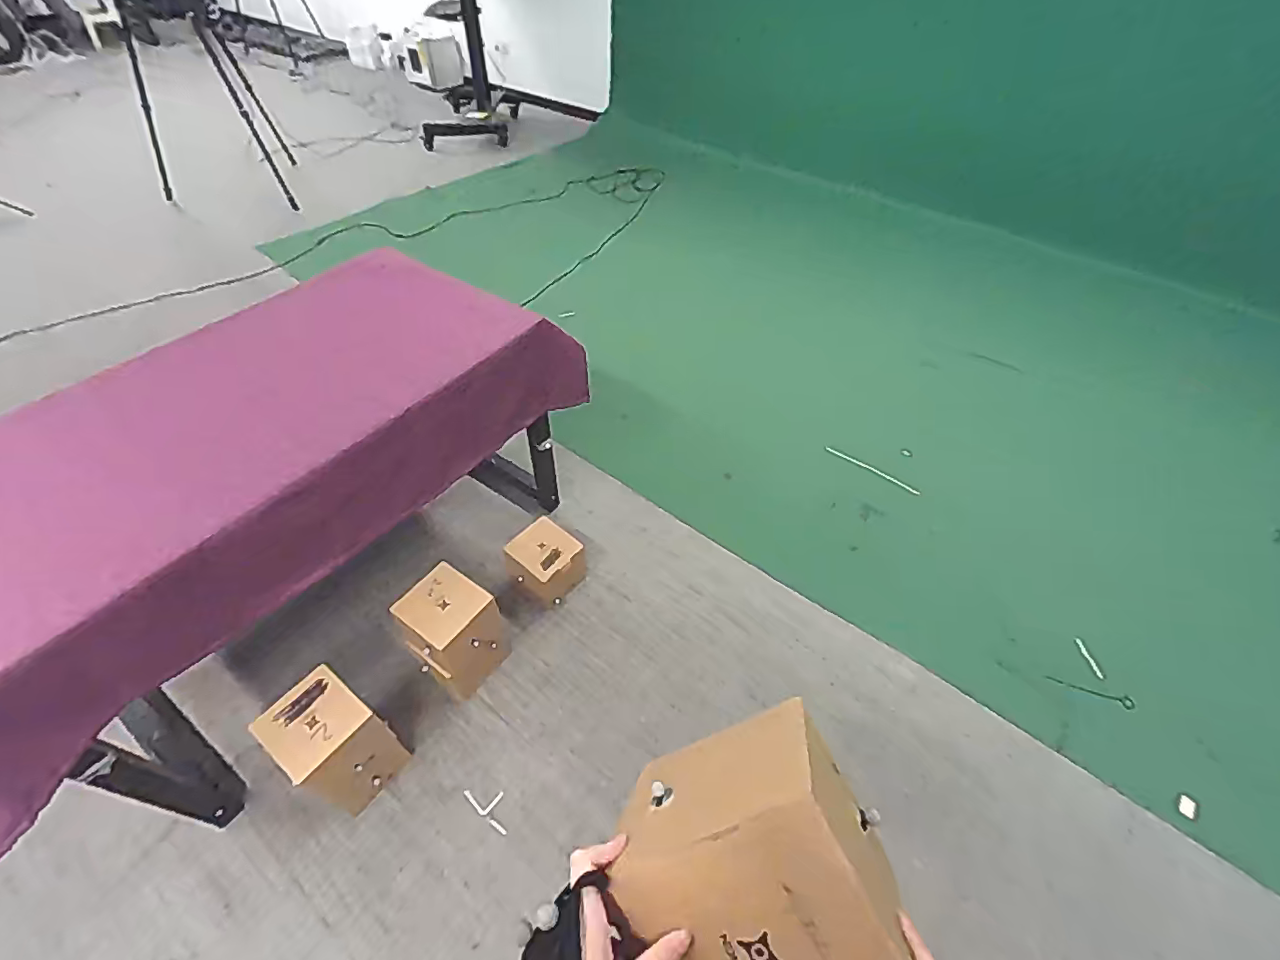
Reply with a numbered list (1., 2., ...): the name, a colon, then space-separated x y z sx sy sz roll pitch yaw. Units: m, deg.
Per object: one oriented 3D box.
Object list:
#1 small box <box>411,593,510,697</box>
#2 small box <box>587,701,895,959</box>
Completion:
1. small box: -0.474 0.447 1.456 0.168 0.176 0.179 30 54 22
2. small box: 0.089 0.318 0.450 0.179 0.176 0.168 -30 84 13
